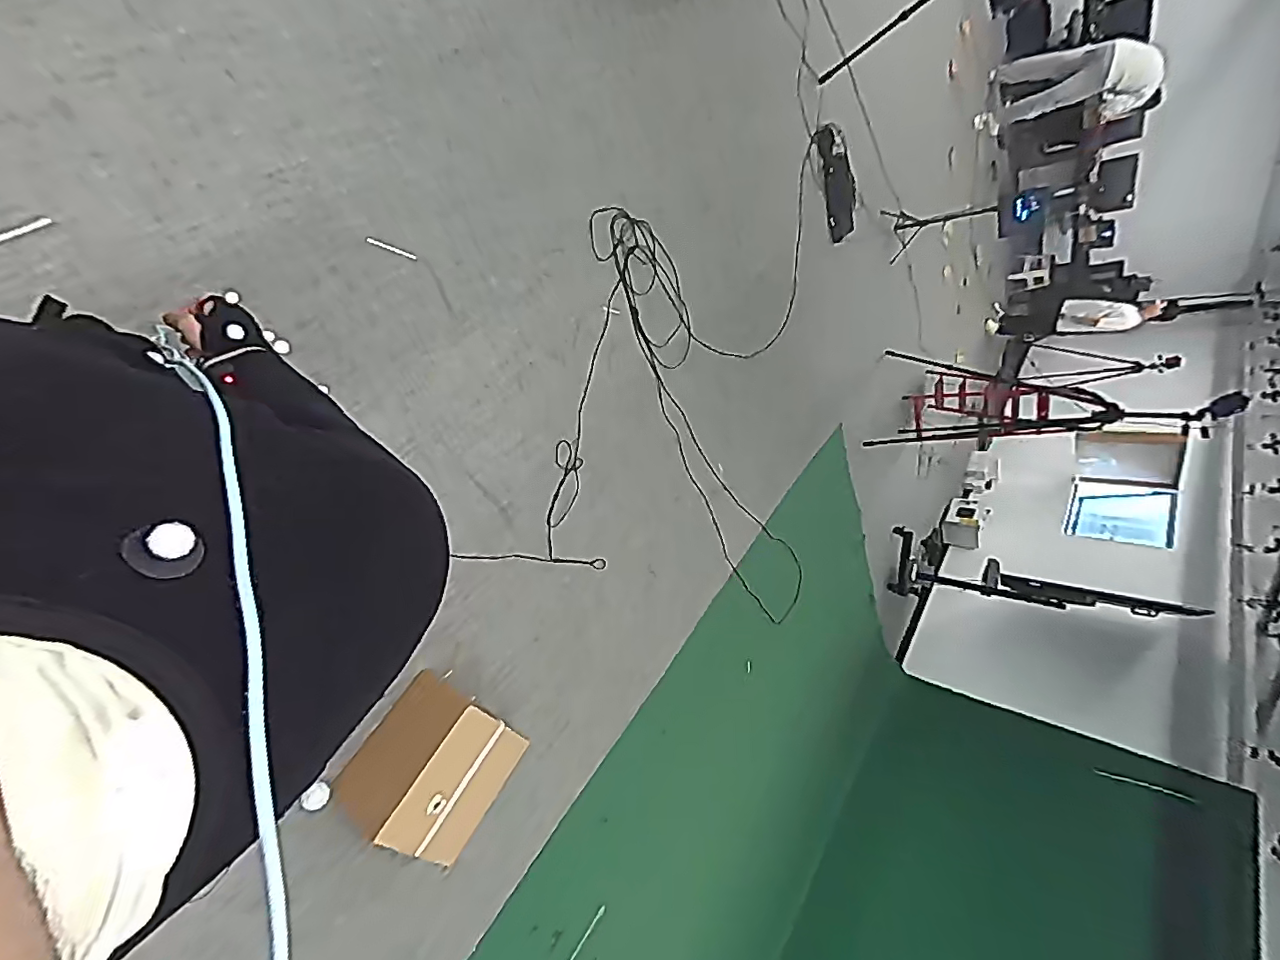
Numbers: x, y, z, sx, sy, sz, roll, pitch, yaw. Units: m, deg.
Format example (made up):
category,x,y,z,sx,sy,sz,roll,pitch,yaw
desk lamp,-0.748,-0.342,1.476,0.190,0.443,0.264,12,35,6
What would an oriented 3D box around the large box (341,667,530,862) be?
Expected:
category,x,y,z,sx,sy,sz,roll,pitch,yaw
large box,-0.633,0.877,1.703,0.408,0.320,0.320,-55,131,-24
